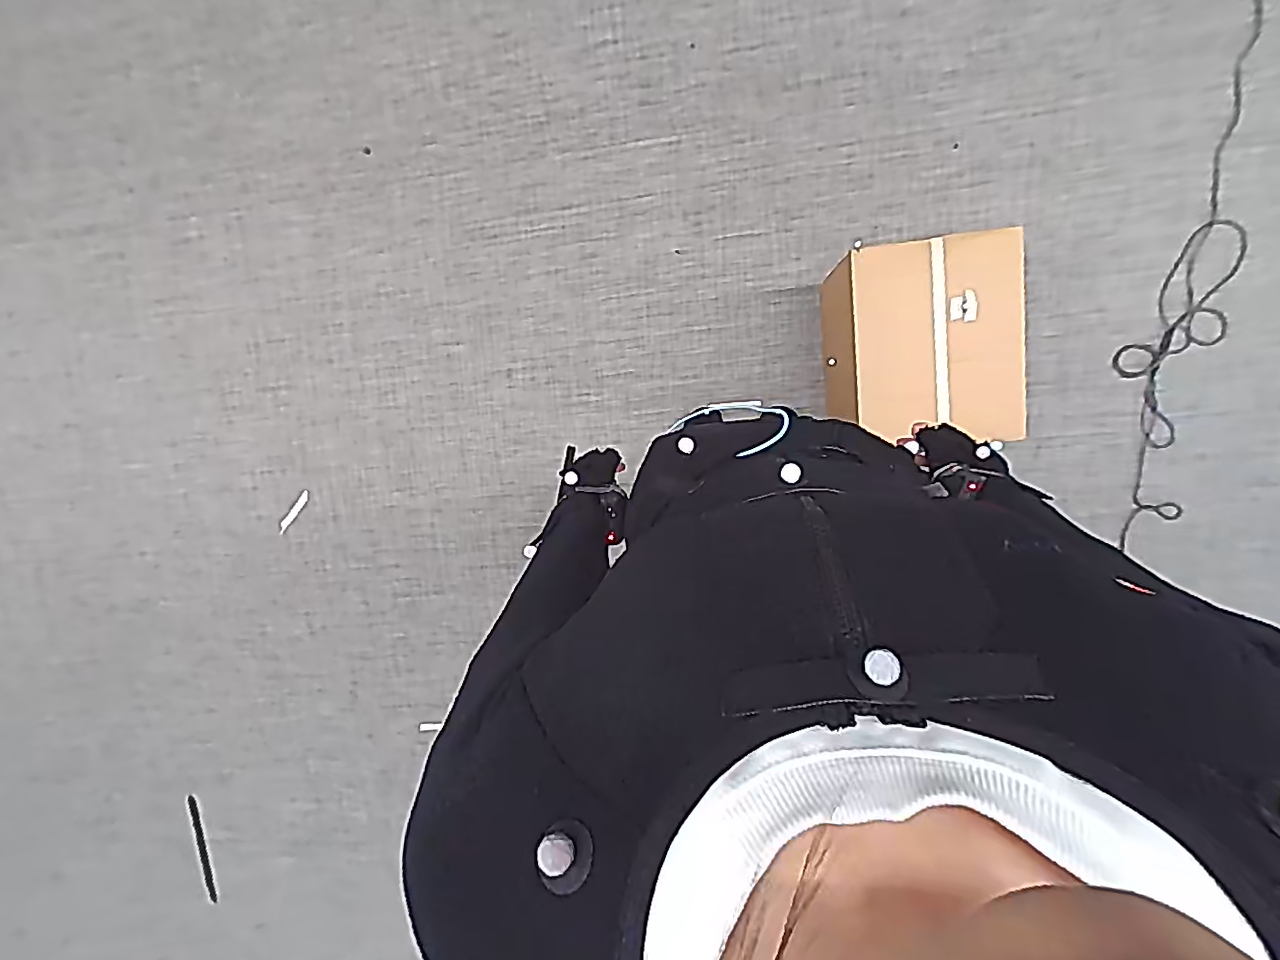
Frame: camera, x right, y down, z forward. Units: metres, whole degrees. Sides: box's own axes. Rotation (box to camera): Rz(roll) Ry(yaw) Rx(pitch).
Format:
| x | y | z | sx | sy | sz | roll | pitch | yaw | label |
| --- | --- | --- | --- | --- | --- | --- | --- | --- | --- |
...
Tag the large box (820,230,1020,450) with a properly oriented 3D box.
| x | y | z | sx | sy | sz | roll | pitch | yaw | label |
| --- | --- | --- | --- | --- | --- | --- | --- | --- | --- |
| 0.603 | -0.287 | 1.223 | 0.320 | 0.320 | 0.408 | -5 | 96 | 7 | large box |
